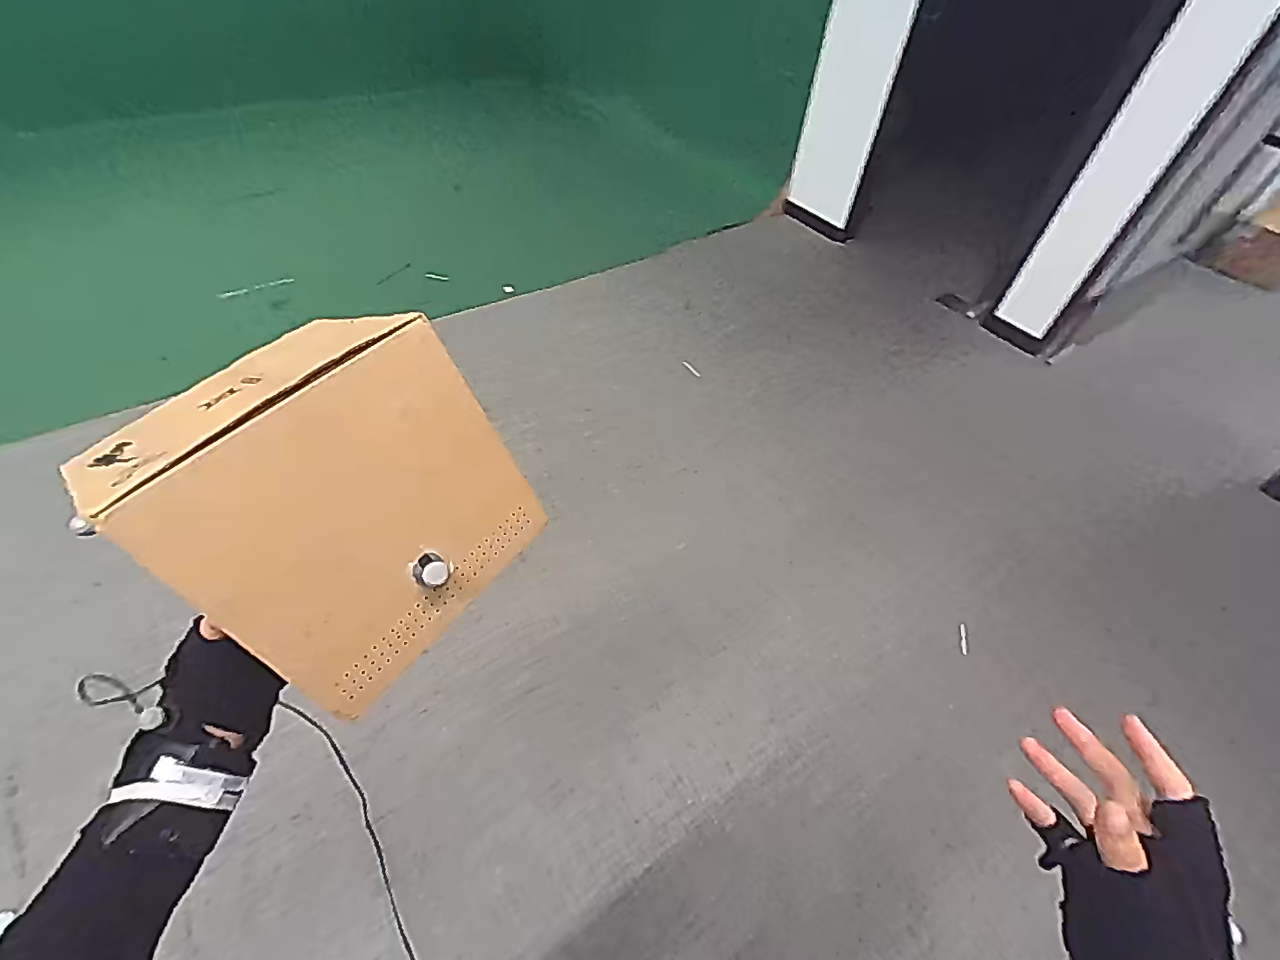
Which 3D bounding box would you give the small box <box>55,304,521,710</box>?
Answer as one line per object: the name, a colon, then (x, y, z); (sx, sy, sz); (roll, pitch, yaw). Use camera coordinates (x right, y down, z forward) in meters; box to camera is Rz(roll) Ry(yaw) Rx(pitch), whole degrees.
small box: (-0.202, 0.006, 0.350); (0.168, 0.176, 0.179); (11, 48, 40)
